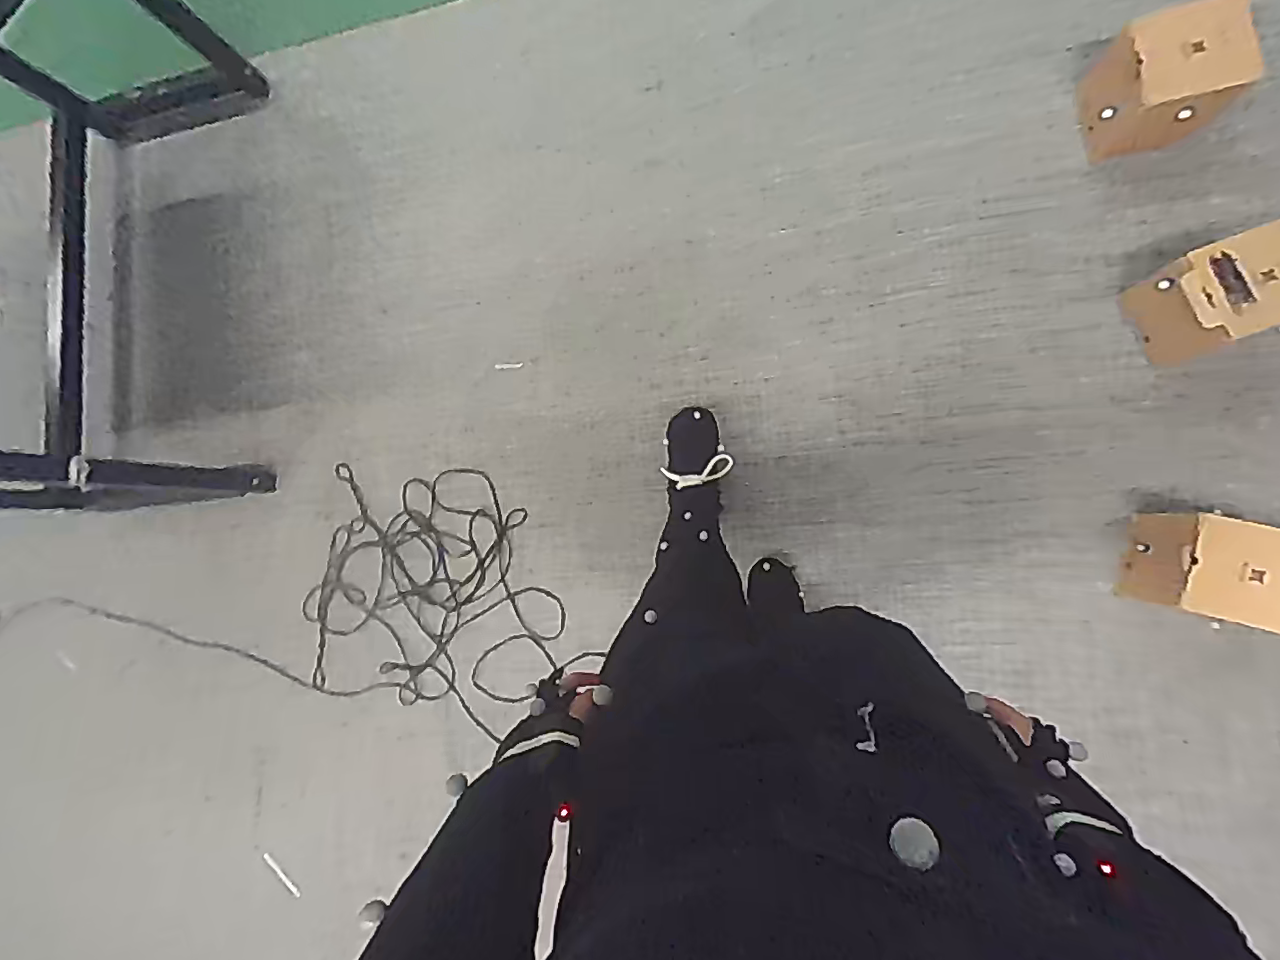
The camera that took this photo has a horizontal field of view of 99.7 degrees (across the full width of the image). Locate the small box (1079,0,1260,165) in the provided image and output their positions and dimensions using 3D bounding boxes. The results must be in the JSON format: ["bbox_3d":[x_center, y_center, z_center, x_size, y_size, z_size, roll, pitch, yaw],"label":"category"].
[{"bbox_3d":[0.969,-0.730,1.013,0.179,0.176,0.168,-9,85,10],"label":"small box"}]

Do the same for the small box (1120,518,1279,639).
[{"bbox_3d":[1.001,0.164,0.937,0.179,0.176,0.168,14,89,13],"label":"small box"}]
